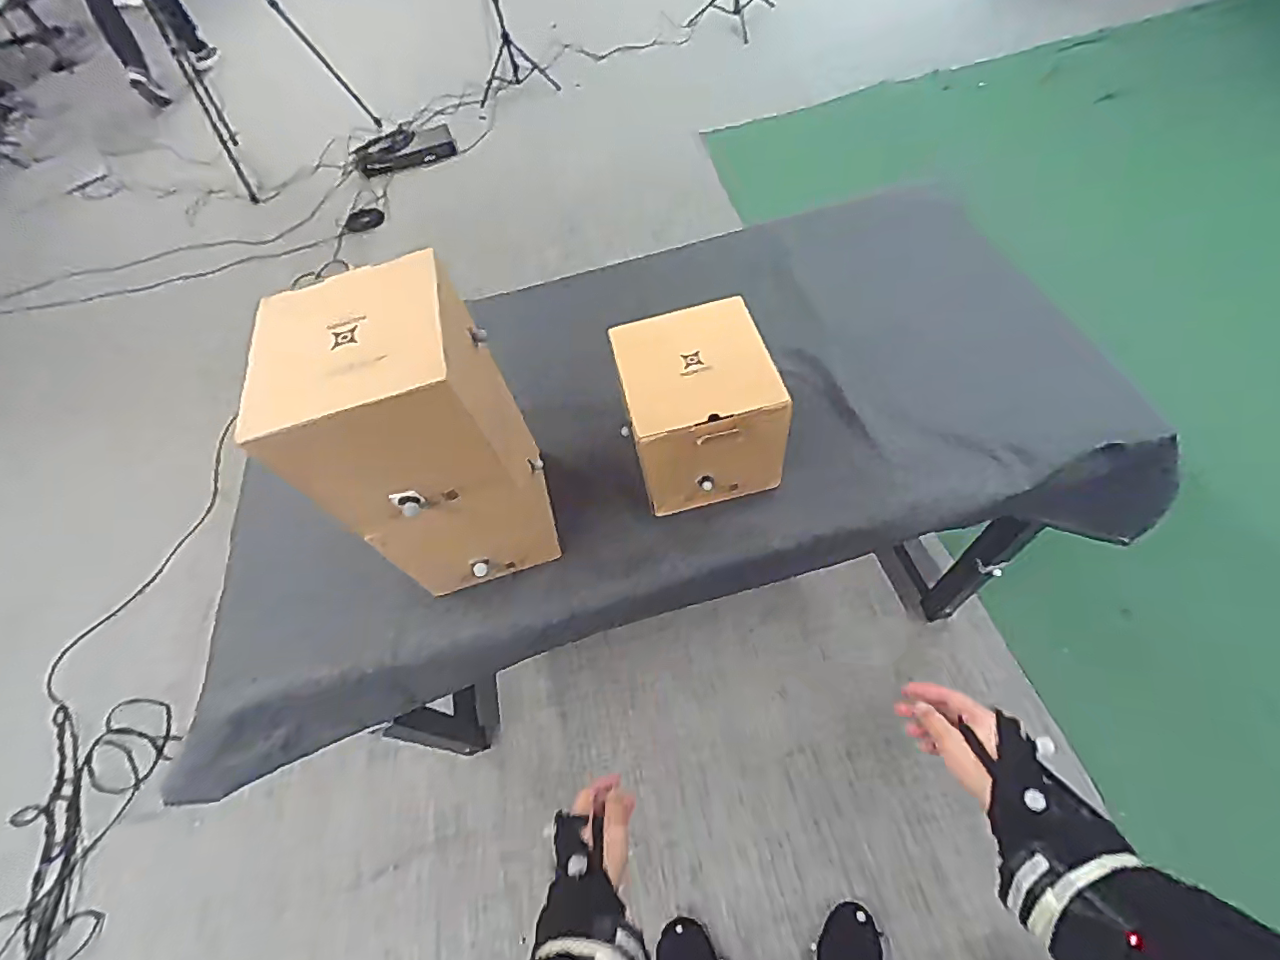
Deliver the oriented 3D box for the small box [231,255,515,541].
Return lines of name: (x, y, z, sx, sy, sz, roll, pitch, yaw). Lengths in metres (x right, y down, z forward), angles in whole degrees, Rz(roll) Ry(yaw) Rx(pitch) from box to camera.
small box: (-0.231, -0.070, 0.508, 0.168, 0.176, 0.179, -19, 58, -2)

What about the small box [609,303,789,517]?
small box: (0.066, -0.081, 0.665, 0.168, 0.176, 0.179, -15, 57, -1)

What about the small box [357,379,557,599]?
small box: (-0.210, 0.016, 0.644, 0.168, 0.176, 0.179, -18, 57, -2)
